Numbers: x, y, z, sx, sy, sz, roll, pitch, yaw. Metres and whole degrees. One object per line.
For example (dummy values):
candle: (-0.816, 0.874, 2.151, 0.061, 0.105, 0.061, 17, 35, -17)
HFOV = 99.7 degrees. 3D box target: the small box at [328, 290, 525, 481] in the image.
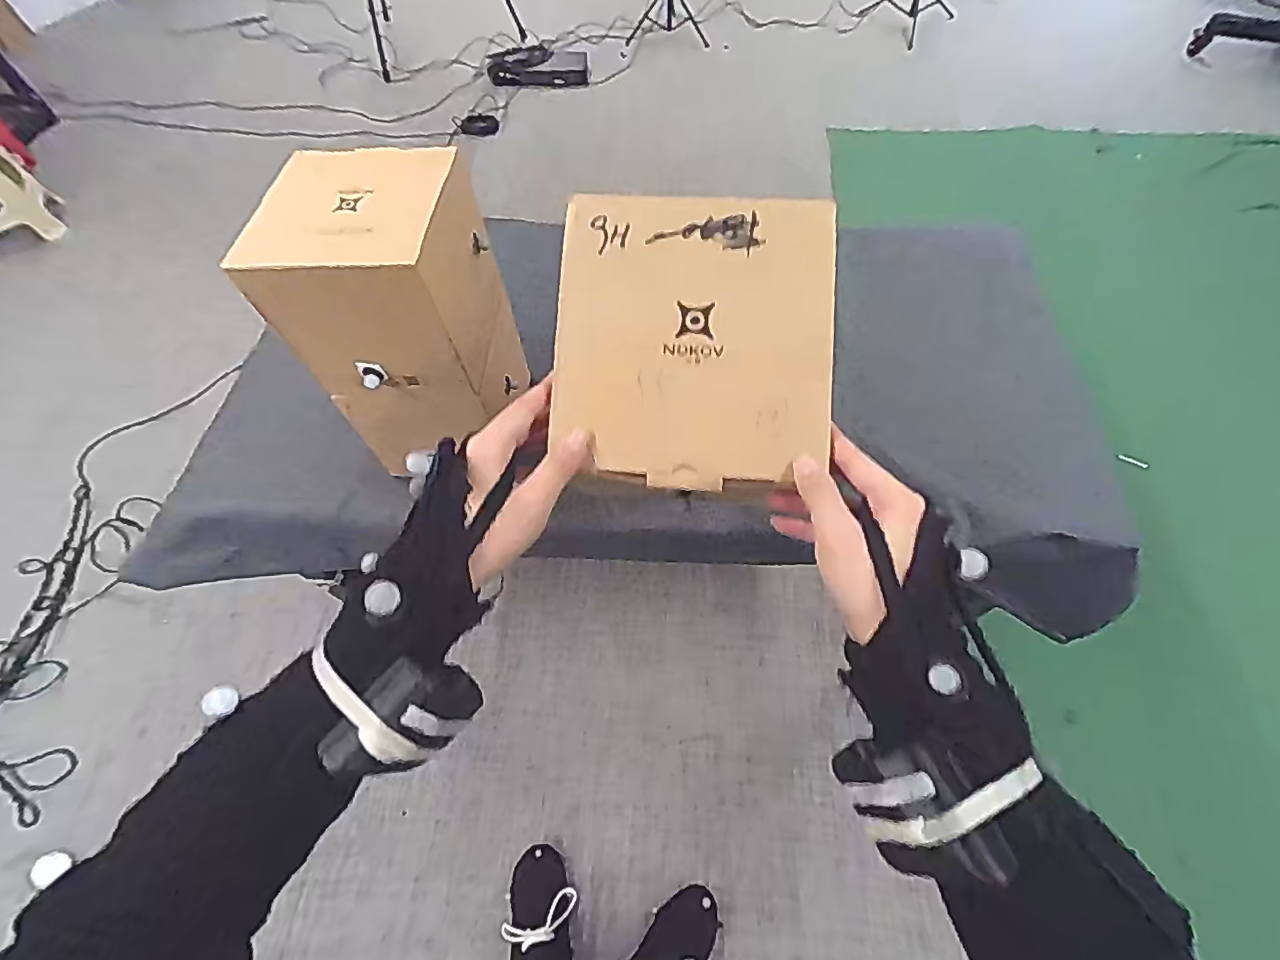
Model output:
small box: (-0.248, -0.117, 0.683, 0.168, 0.176, 0.179, 0, 60, 2)

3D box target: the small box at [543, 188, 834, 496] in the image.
small box: (0.034, -0.082, 0.399, 0.168, 0.176, 0.179, 3, 85, 3)

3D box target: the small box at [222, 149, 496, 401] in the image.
small box: (-0.253, -0.200, 0.544, 0.168, 0.176, 0.179, -1, 60, 3)
